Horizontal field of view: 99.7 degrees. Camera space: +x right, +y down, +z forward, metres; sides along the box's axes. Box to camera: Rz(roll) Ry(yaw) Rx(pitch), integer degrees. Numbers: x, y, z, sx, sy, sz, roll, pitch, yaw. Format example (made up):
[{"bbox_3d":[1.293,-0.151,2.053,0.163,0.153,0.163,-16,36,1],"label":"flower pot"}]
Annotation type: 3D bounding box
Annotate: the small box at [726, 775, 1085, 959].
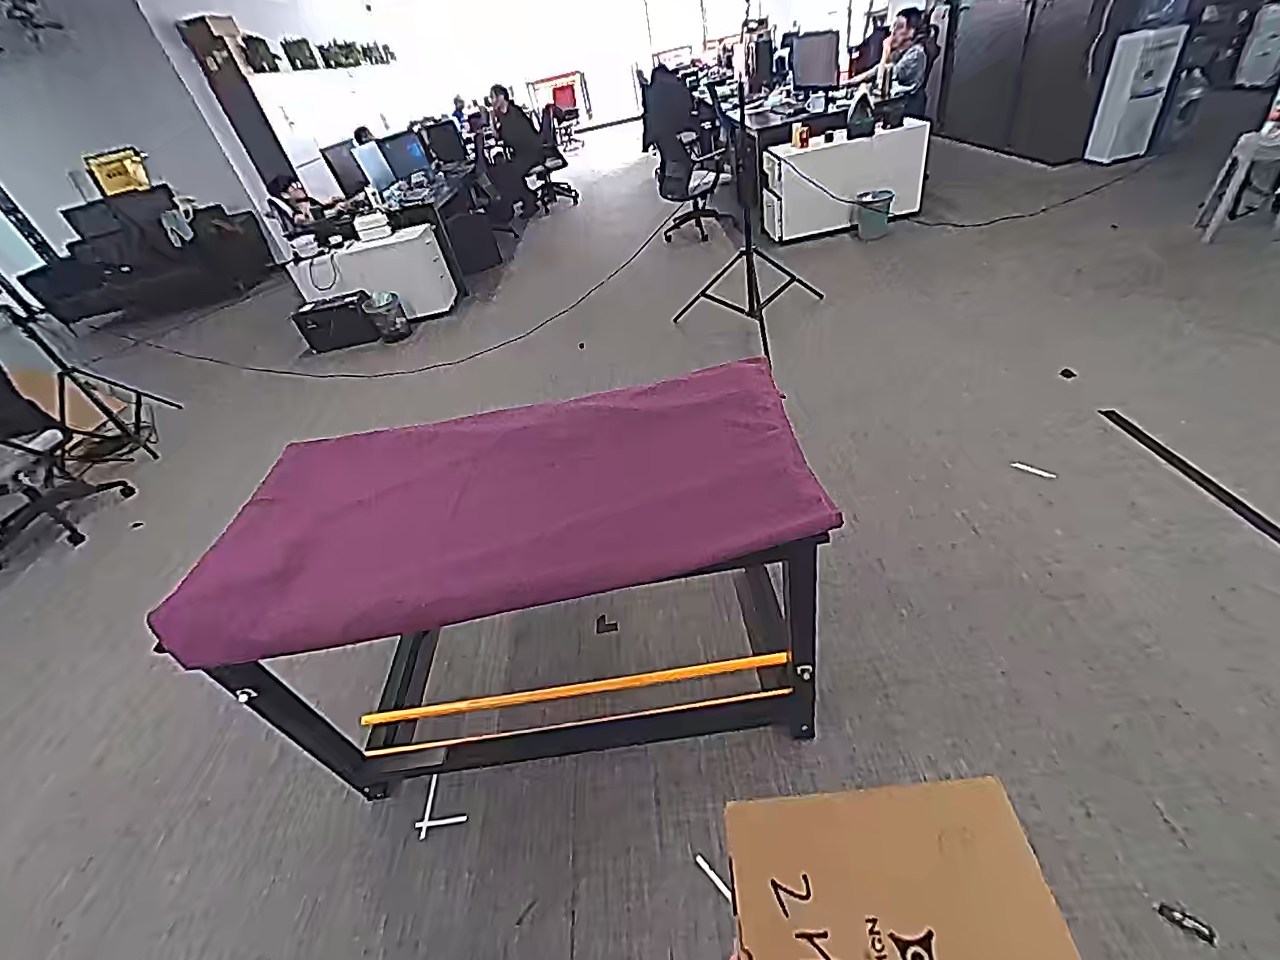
[{"bbox_3d":[0.160,0.308,0.343,0.179,0.176,0.168,-11,42,10],"label":"small box"}]
